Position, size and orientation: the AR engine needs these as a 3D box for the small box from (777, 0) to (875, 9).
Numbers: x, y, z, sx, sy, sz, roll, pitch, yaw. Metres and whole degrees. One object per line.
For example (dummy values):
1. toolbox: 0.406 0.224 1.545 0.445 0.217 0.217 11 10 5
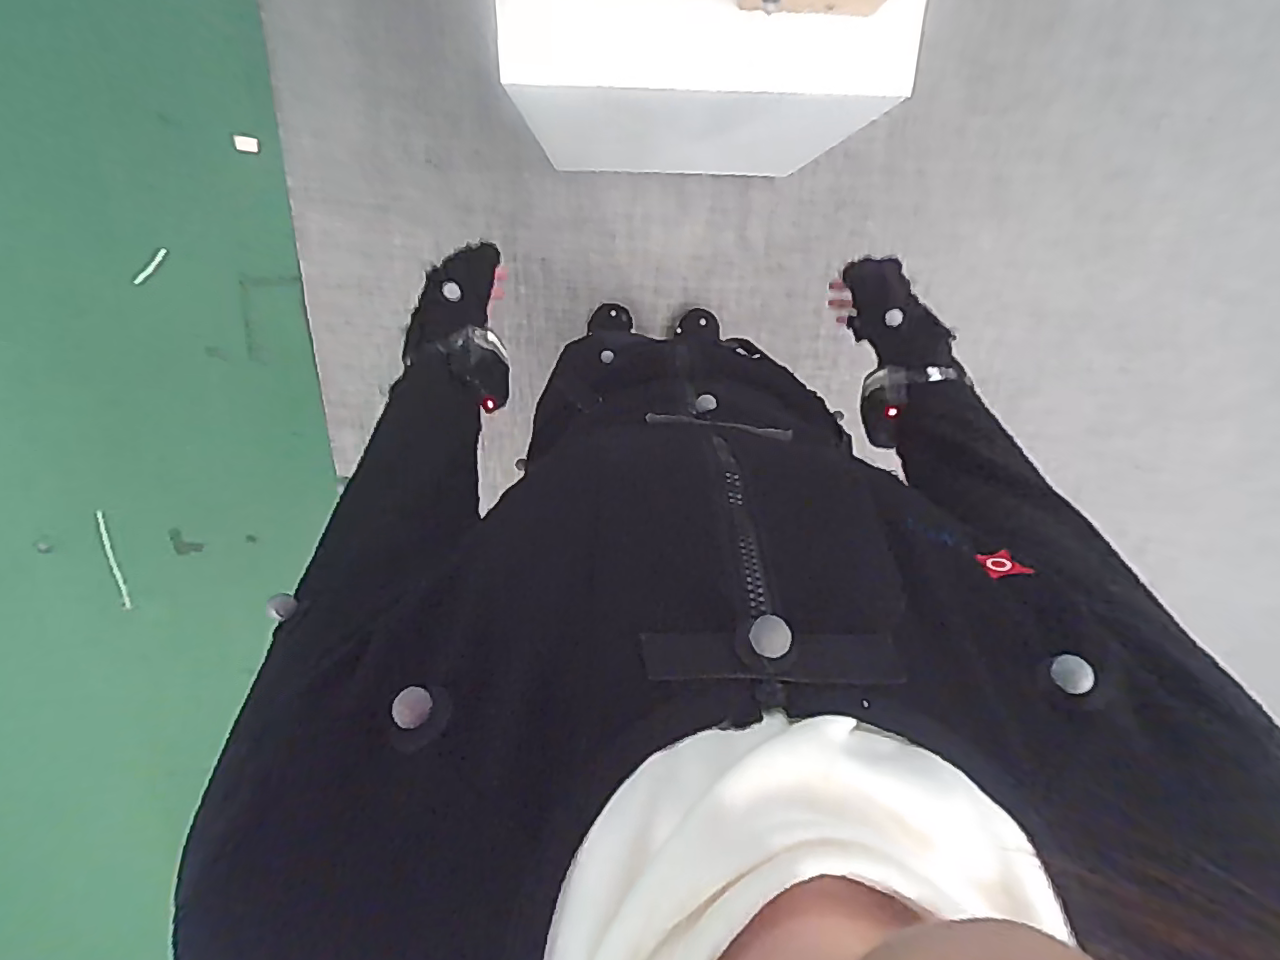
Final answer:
1. small box: 0.199 -0.611 0.535 0.168 0.176 0.179 2 109 -1
